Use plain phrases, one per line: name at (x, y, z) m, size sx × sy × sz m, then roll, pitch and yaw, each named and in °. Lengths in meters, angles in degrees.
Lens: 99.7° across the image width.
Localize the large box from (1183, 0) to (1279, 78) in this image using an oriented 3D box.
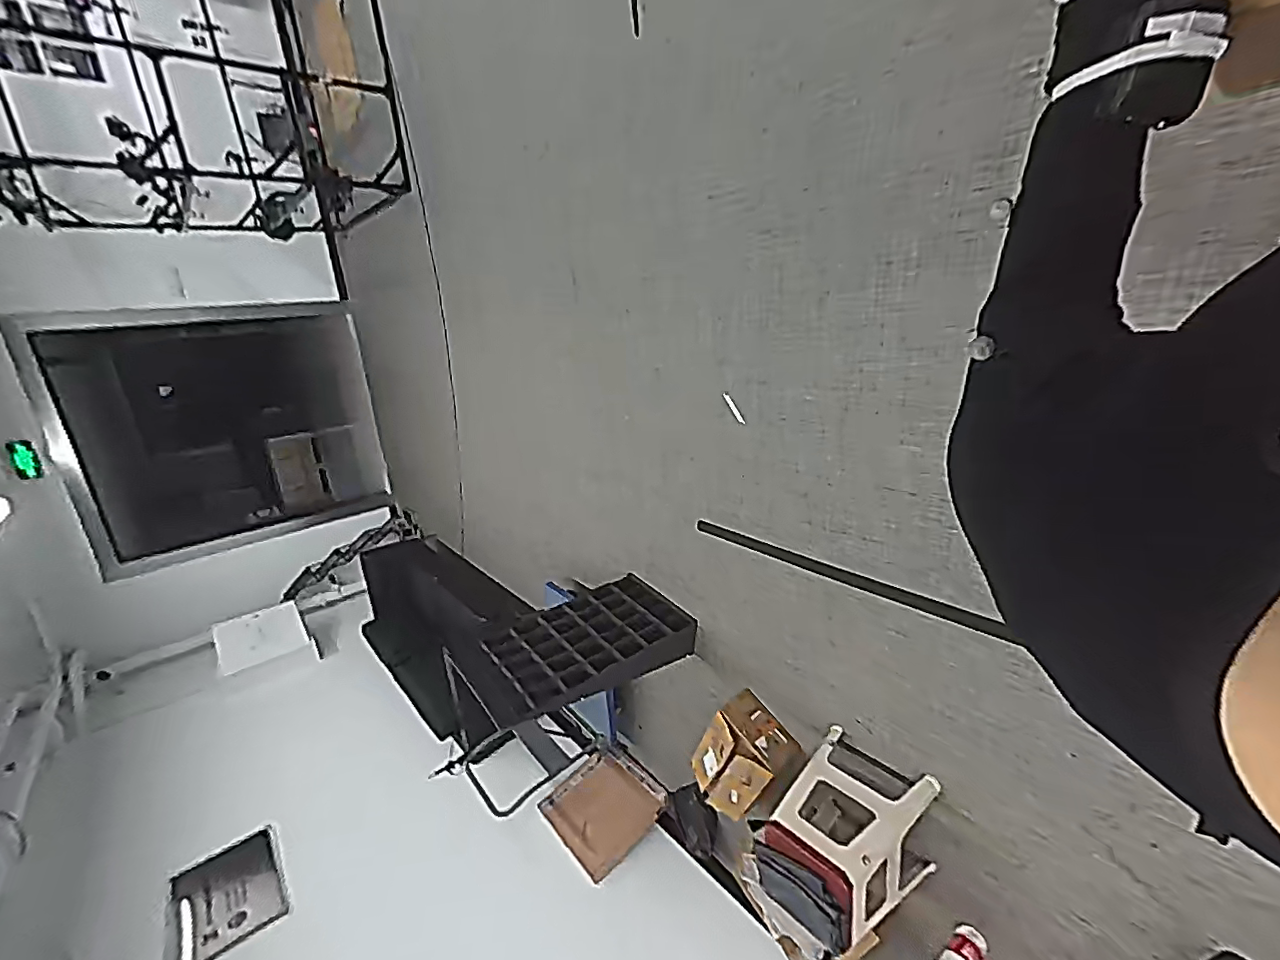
large box at (0.584, -0.474, 0.264) m, size 0.408 × 0.320 × 0.320 m, roll 13°, pitch 118°, yaw 49°
